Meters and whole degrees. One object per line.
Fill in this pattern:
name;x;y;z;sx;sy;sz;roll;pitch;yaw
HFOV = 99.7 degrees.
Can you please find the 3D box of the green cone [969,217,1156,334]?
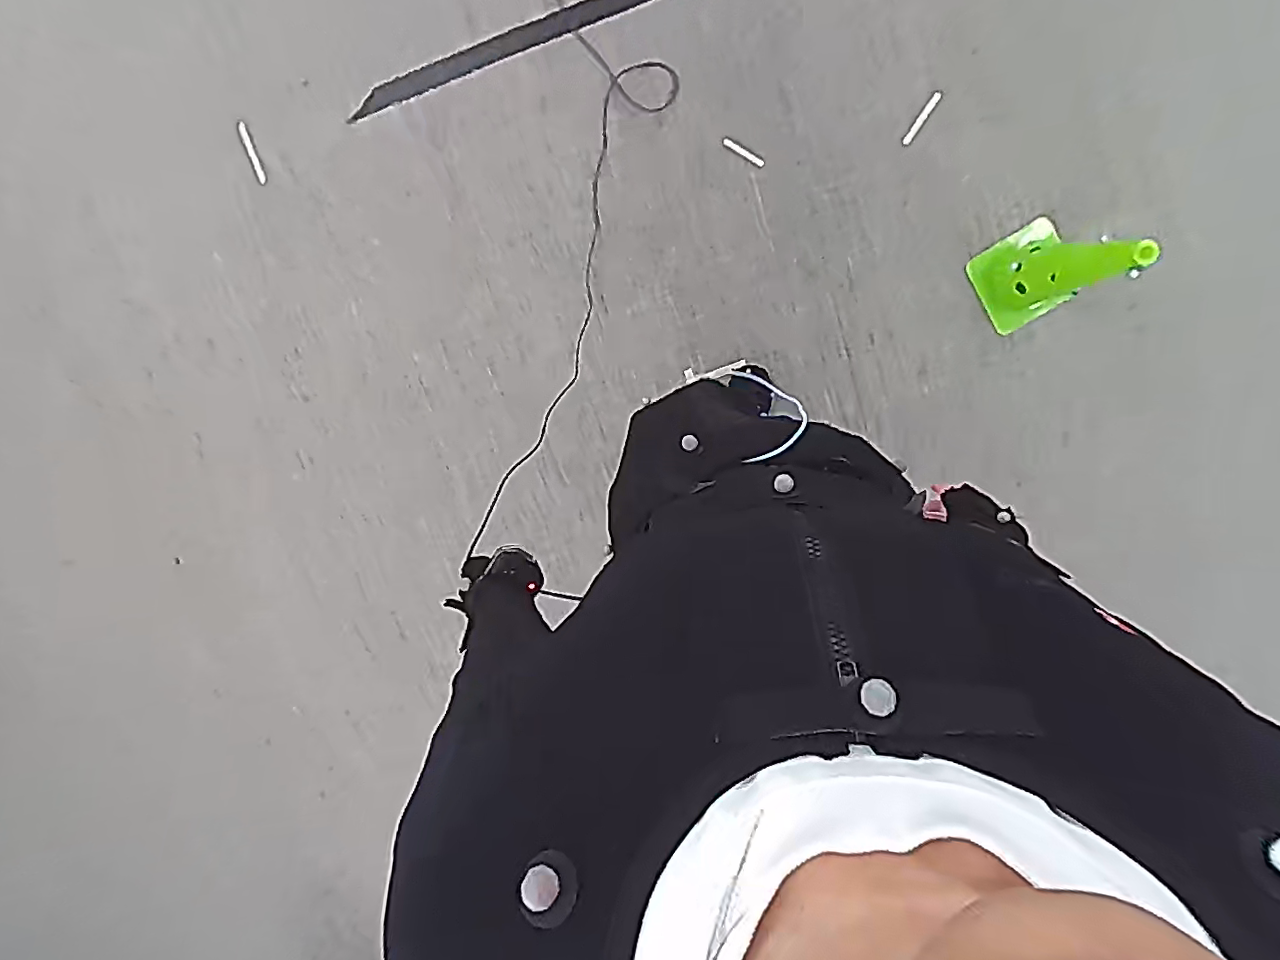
green cone;0.879;-0.432;1.090;0.202;0.368;0.200;-32;98;13
